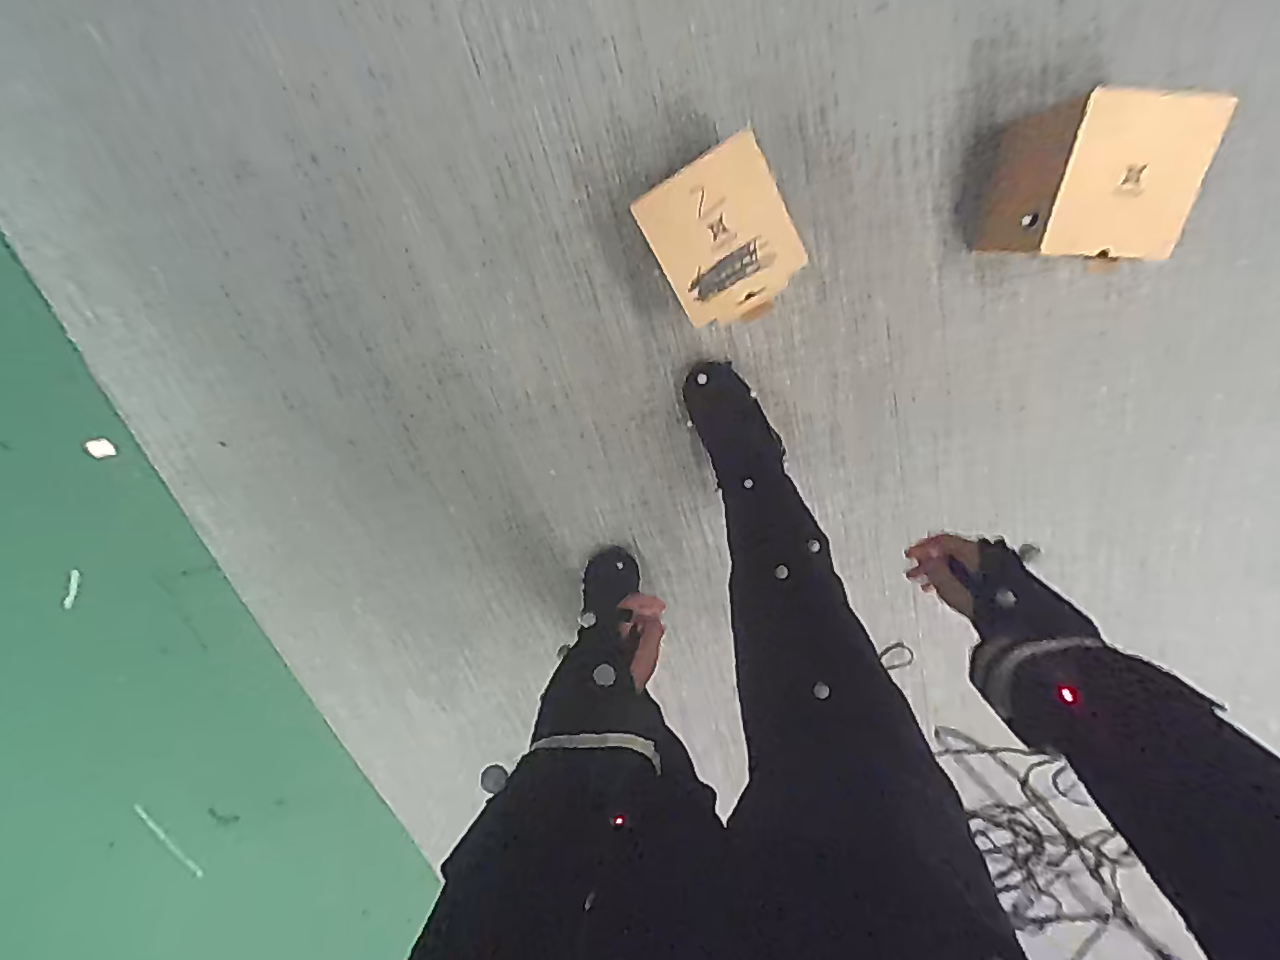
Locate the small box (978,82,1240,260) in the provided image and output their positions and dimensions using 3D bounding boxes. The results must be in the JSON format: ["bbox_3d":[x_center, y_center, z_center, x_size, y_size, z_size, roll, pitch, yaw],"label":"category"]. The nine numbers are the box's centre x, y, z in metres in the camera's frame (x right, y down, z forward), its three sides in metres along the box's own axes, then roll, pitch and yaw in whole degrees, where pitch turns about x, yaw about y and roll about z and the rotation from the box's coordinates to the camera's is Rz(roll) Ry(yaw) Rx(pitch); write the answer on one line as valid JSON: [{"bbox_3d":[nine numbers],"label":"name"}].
[{"bbox_3d":[0.584,-0.389,0.706,0.168,0.176,0.179,3,115,0],"label":"small box"}]
